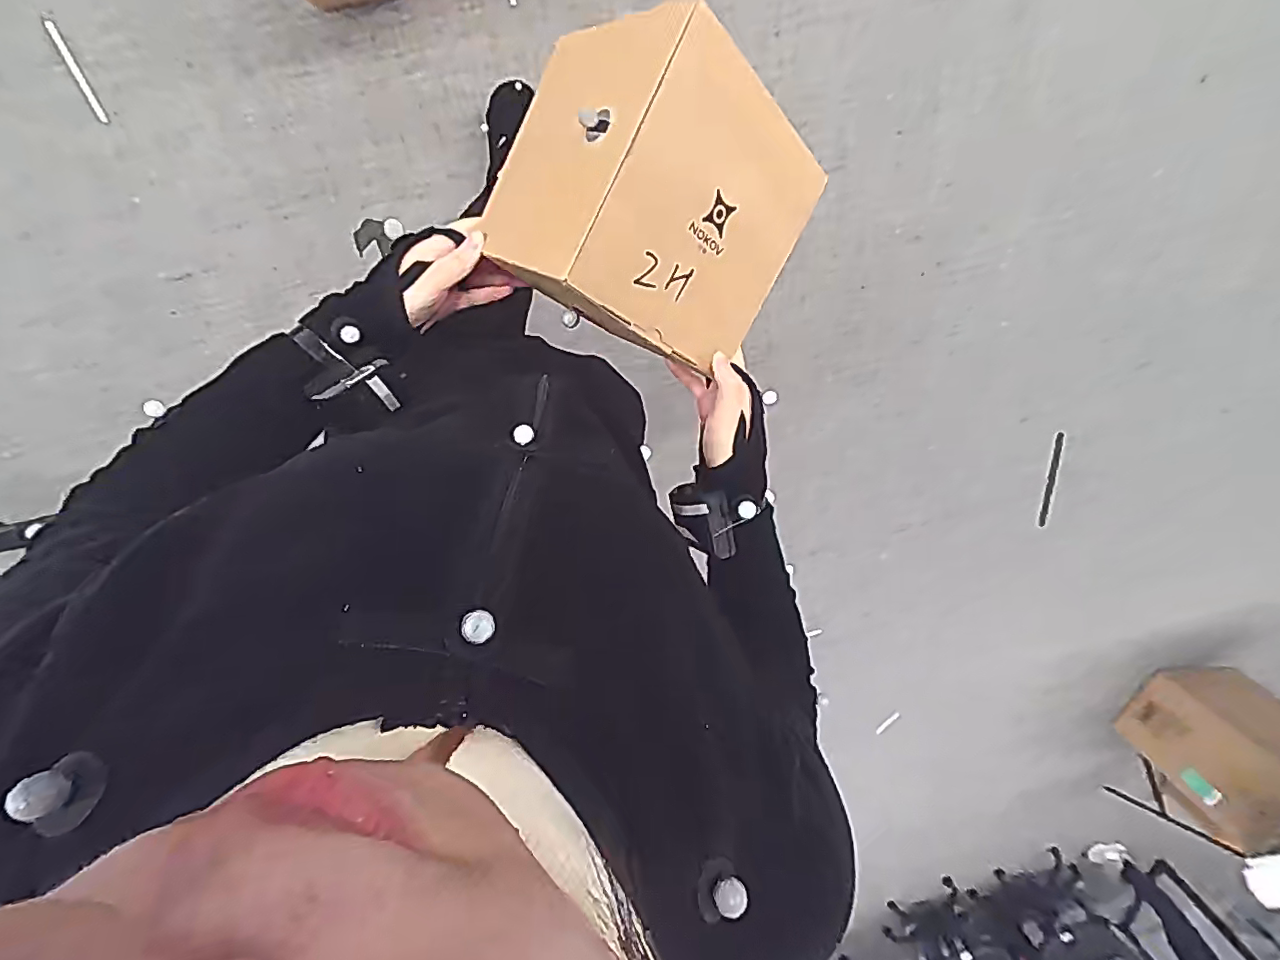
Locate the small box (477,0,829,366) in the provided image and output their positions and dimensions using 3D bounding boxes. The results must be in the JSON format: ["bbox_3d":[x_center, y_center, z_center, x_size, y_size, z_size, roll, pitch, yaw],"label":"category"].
[{"bbox_3d":[0.002,-0.217,0.412,0.168,0.176,0.179,20,102,-44],"label":"small box"}]
